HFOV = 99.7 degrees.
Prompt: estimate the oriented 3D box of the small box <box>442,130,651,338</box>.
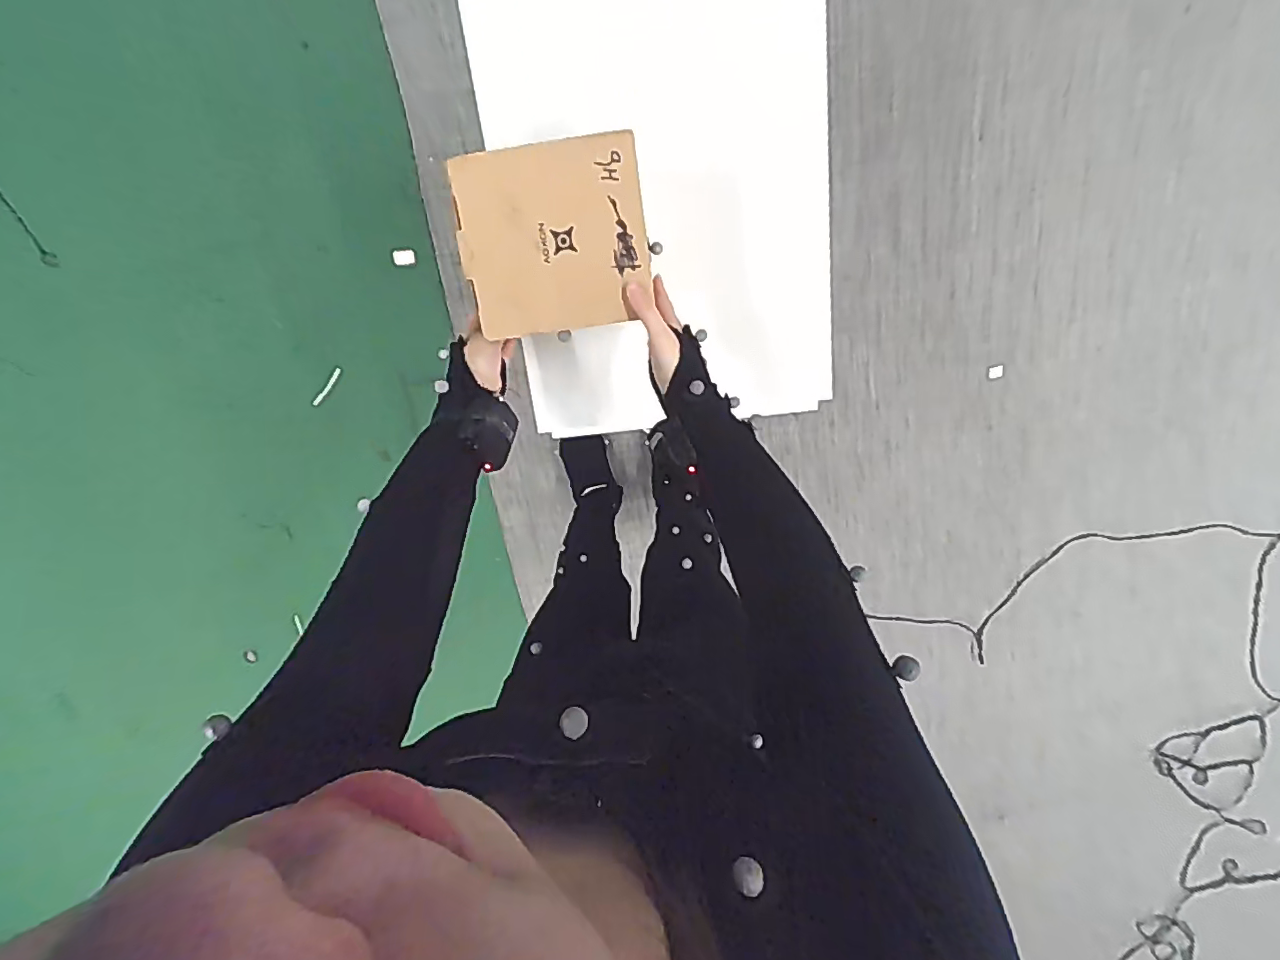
[{"bbox_3d":[-0.083,-0.249,0.584,0.179,0.176,0.168,-7,108,3],"label":"small box"}]
